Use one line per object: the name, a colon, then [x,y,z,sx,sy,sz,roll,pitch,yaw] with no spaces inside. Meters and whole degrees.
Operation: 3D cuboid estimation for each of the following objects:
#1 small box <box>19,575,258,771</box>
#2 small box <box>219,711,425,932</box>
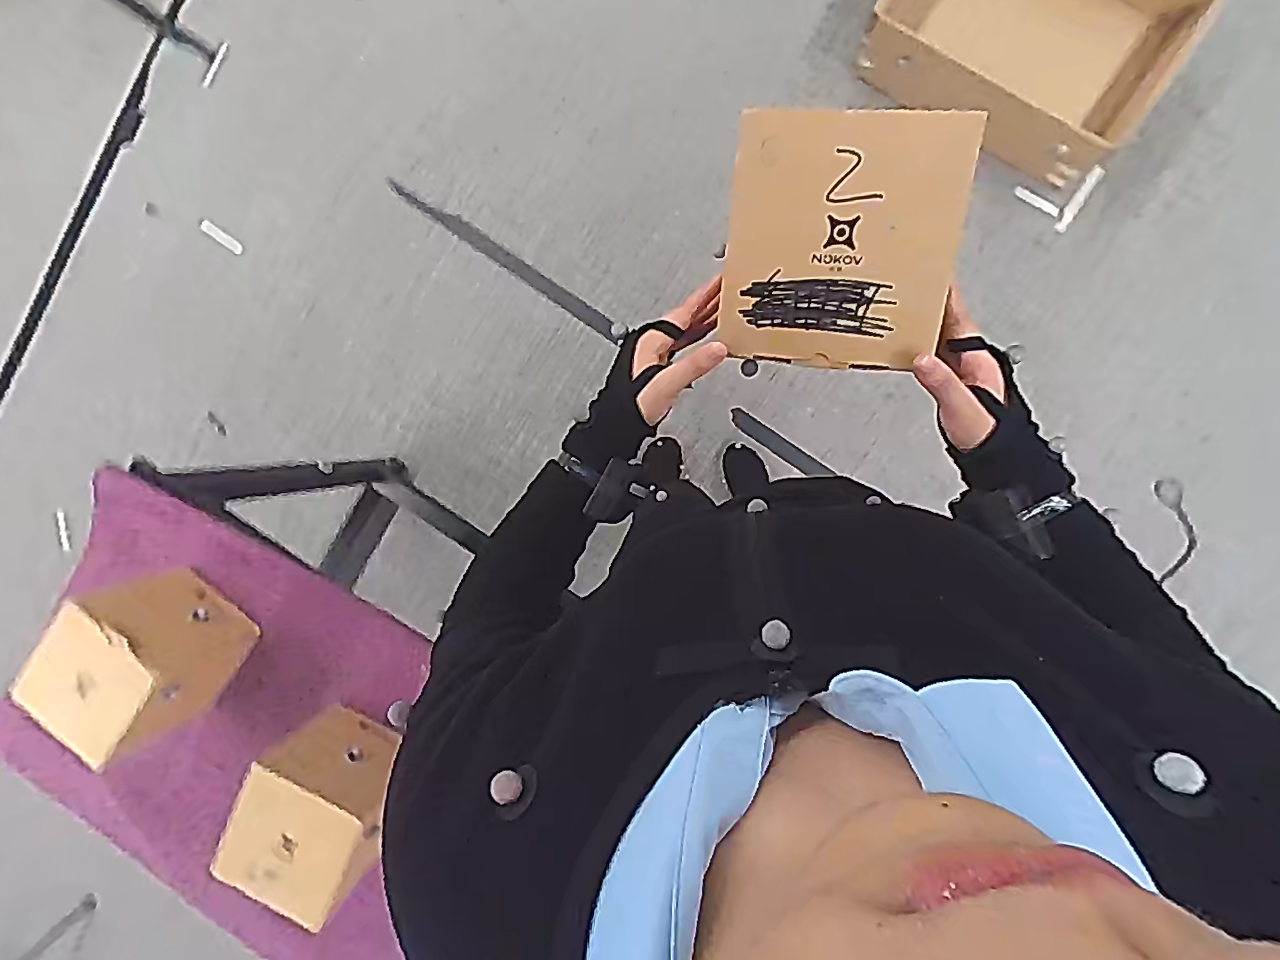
small box: [-0.720,0.270,0.796,0.168,0.176,0.179,37,98,3]
small box: [-0.439,0.470,0.777,0.168,0.176,0.179,24,97,5]
